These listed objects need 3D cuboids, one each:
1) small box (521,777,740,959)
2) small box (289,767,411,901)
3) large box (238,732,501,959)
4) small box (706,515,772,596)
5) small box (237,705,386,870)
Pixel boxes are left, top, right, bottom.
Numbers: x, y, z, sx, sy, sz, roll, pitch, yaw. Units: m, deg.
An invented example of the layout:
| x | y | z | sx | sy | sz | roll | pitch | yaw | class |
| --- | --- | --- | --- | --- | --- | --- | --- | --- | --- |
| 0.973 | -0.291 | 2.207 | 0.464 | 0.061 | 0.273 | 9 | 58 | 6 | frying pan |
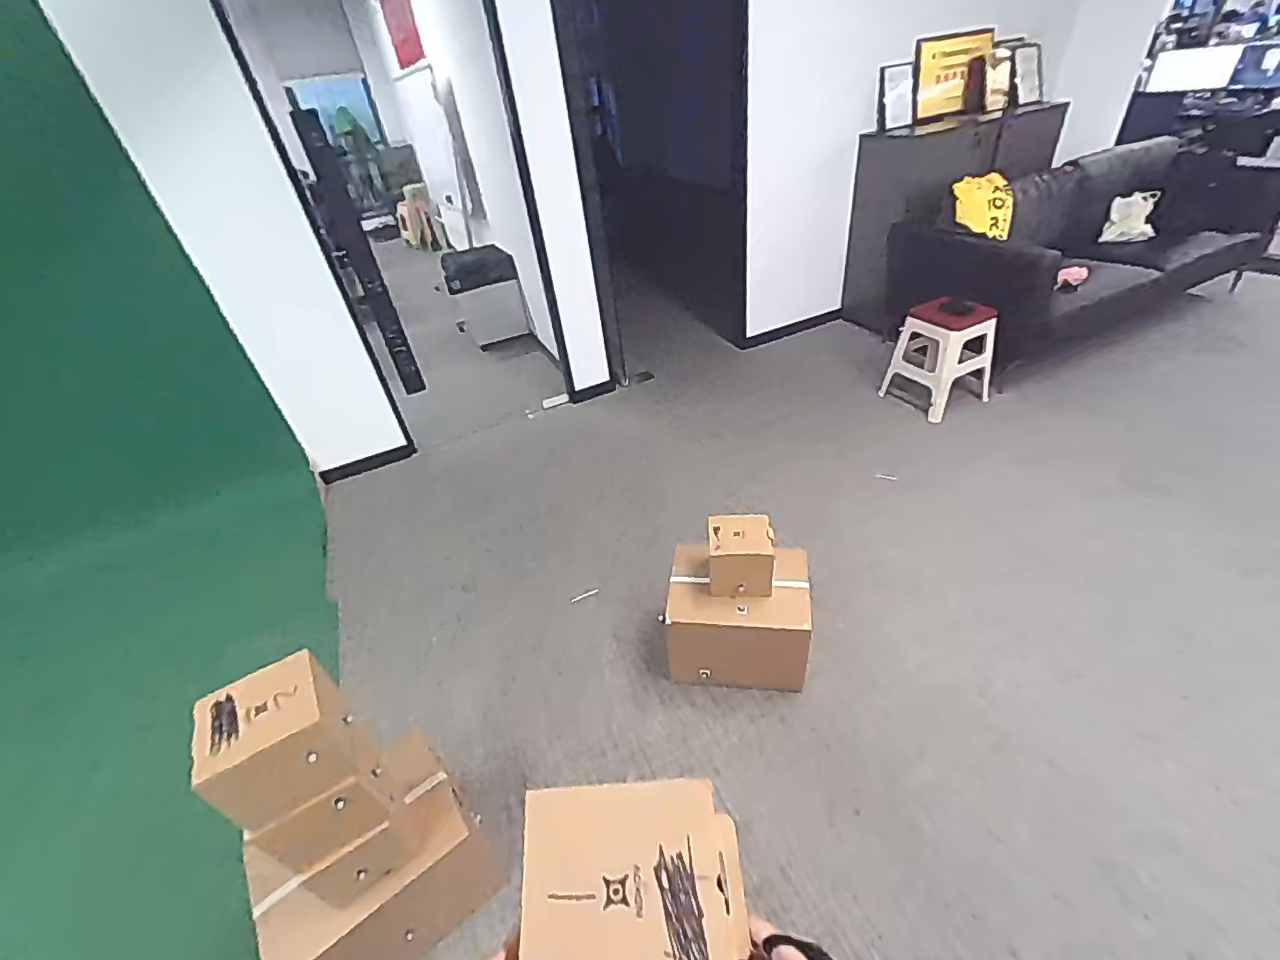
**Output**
| x | y | z | sx | sy | sz | roll | pitch | yaw | class |
| --- | --- | --- | --- | --- | --- | --- | --- | --- | --- |
| -0.018 | 0.391 | 0.515 | 0.179 | 0.176 | 0.168 | 1 | 51 | -7 | small box |
| -0.580 | 0.694 | 1.079 | 0.168 | 0.176 | 0.179 | -25 | 41 | -23 | small box |
| -0.595 | 0.887 | 1.235 | 0.408 | 0.320 | 0.320 | -31 | 42 | -26 | large box |
| 0.280 | 0.220 | 1.563 | 0.179 | 0.176 | 0.168 | 0 | 36 | 7 | small box |
| -0.596 | 0.561 | 0.987 | 0.179 | 0.176 | 0.168 | -24 | 41 | -23 | small box |
